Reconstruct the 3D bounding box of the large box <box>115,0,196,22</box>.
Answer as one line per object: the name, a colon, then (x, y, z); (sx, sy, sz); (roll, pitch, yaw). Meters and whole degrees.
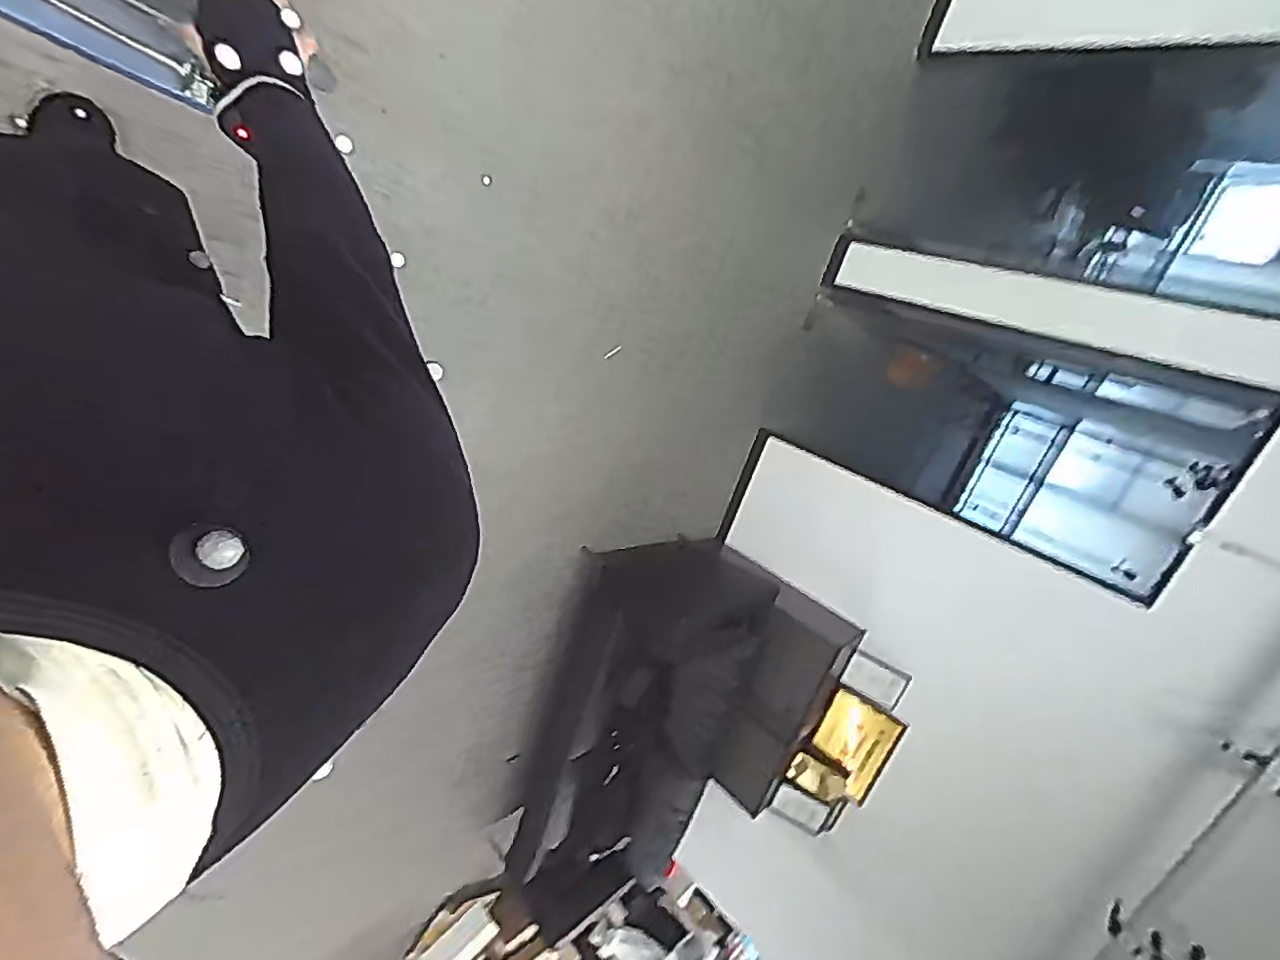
large box: (-0.756, -0.912, 0.686); (0.320, 0.320, 0.408); (6, 110, -52)
